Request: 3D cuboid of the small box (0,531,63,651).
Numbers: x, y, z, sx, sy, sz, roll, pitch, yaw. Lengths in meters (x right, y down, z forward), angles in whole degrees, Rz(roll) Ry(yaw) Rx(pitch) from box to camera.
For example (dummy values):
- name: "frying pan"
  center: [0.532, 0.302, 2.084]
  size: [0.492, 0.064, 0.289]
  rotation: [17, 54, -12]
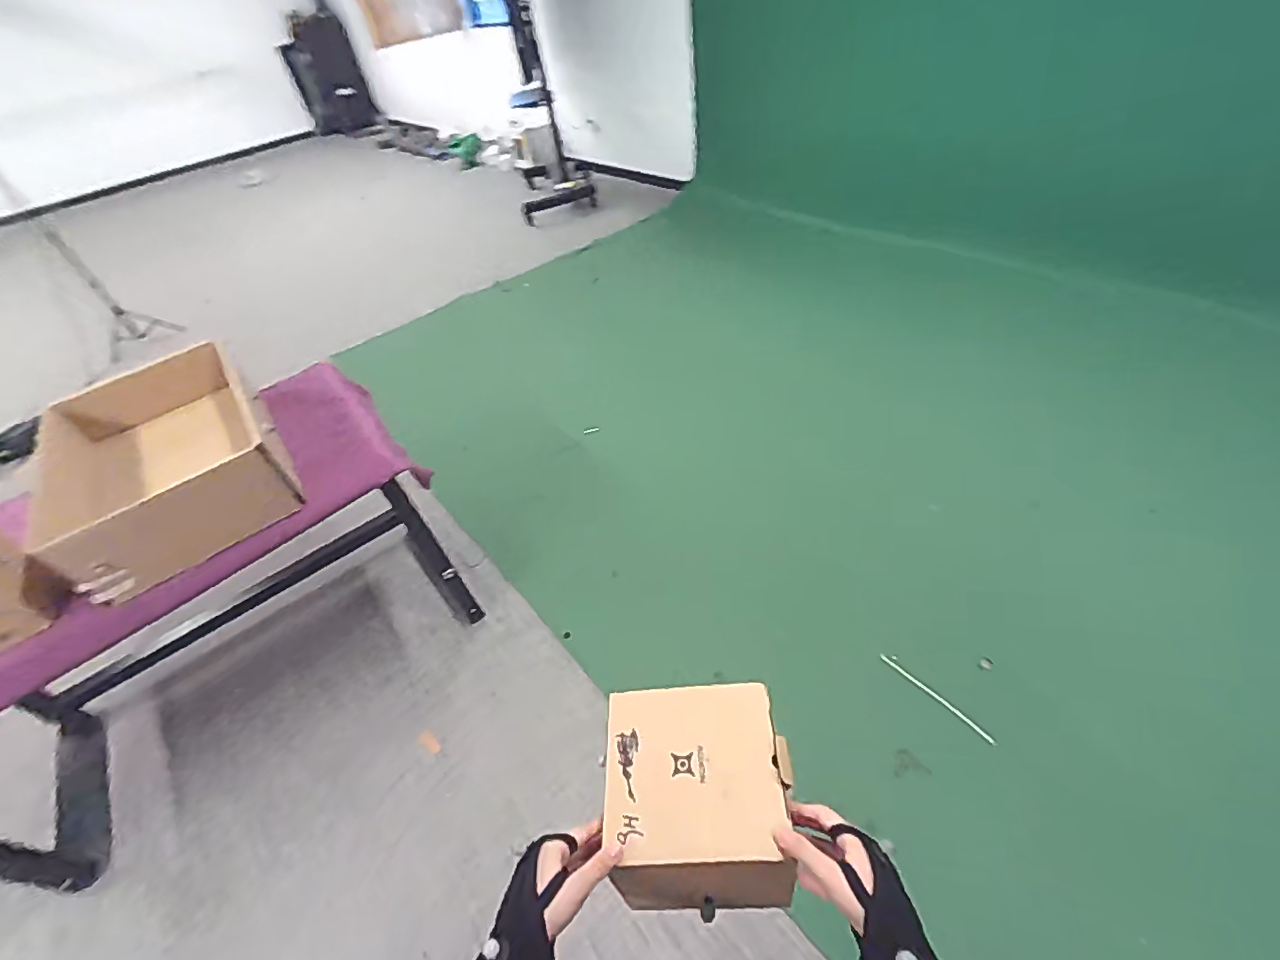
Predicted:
- name: "small box"
  center: [-1.254, 0.222, 1.019]
  size: [0.168, 0.176, 0.179]
  rotation: [-32, 47, -22]

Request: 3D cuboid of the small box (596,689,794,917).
- name: "small box"
  center: [0.057, 0.347, 0.582]
  size: [0.179, 0.176, 0.168]
  rotation: [-6, 39, 5]
